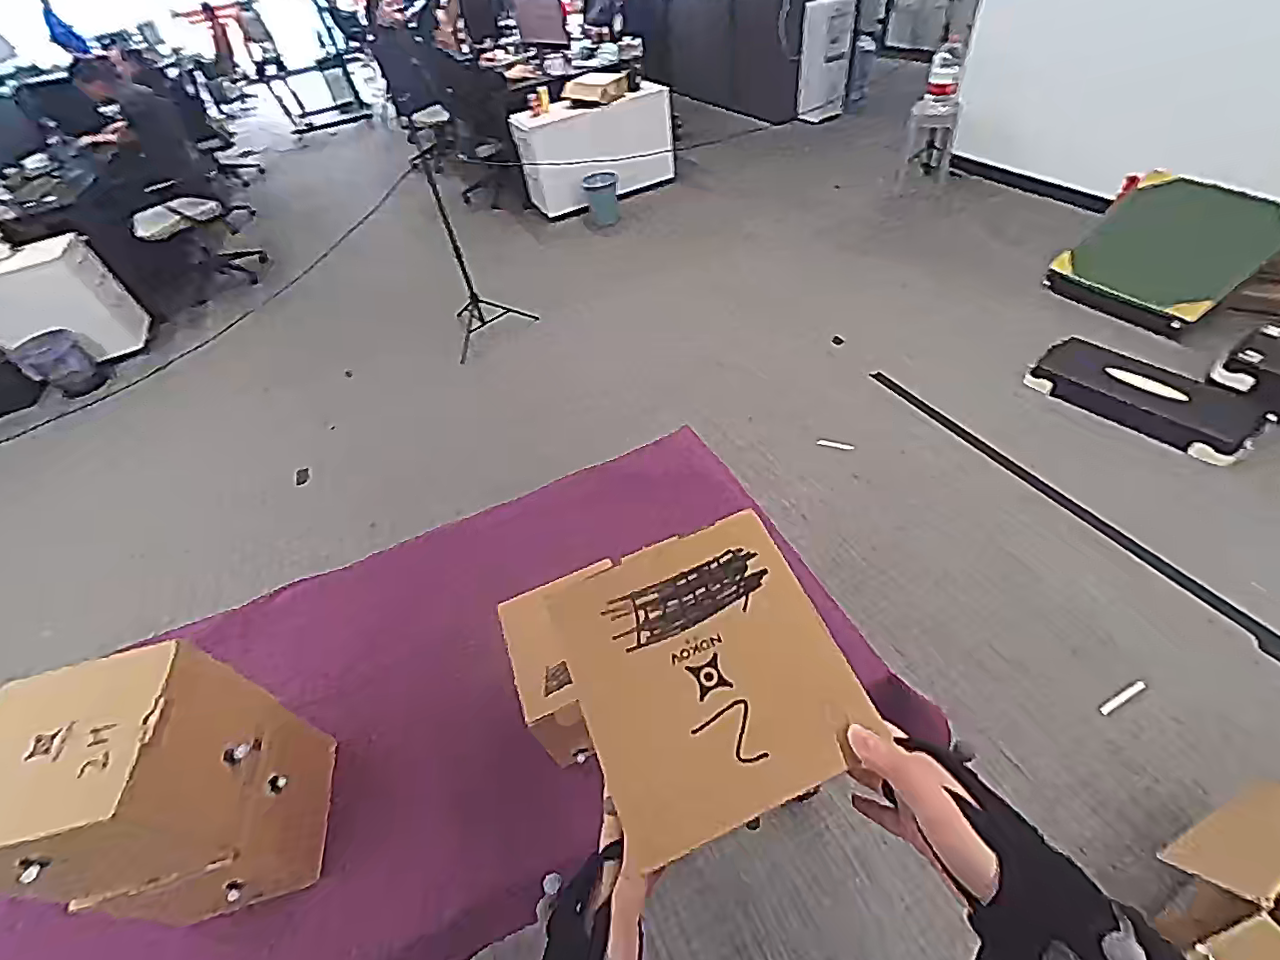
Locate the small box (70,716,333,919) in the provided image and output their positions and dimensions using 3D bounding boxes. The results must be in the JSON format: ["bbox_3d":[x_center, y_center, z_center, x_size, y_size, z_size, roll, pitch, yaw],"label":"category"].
[{"bbox_3d":[-0.507,0.410,0.664,0.168,0.176,0.179,-15,47,-5],"label":"small box"}]

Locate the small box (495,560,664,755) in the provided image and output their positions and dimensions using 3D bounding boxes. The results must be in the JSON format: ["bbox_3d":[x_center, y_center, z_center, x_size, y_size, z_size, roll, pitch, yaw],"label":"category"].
[{"bbox_3d":[-0.078,0.249,0.738,0.168,0.176,0.179,-22,47,-10],"label":"small box"}]

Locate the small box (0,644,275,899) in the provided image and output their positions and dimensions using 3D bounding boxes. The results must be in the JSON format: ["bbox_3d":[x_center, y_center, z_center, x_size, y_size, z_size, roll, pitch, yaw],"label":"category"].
[{"bbox_3d":[-0.522,0.297,0.547,0.179,0.176,0.168,-14,48,-5],"label":"small box"}]
